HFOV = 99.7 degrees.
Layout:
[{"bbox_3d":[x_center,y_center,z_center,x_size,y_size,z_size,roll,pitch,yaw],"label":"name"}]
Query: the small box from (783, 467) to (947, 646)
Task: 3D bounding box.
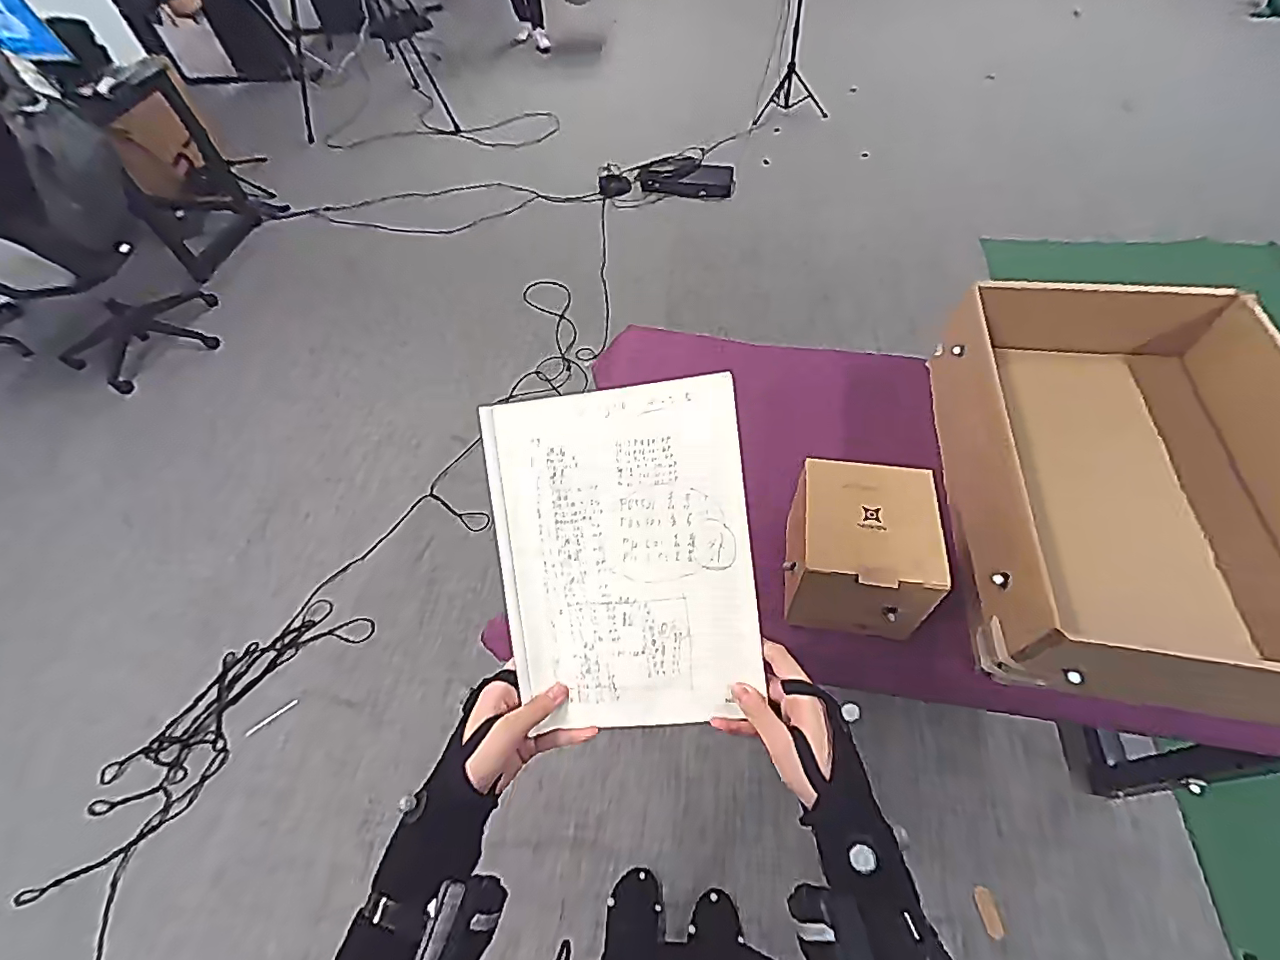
[{"bbox_3d":[0.293,0.108,0.741,0.168,0.176,0.179,7,53,9],"label":"small box"}]
